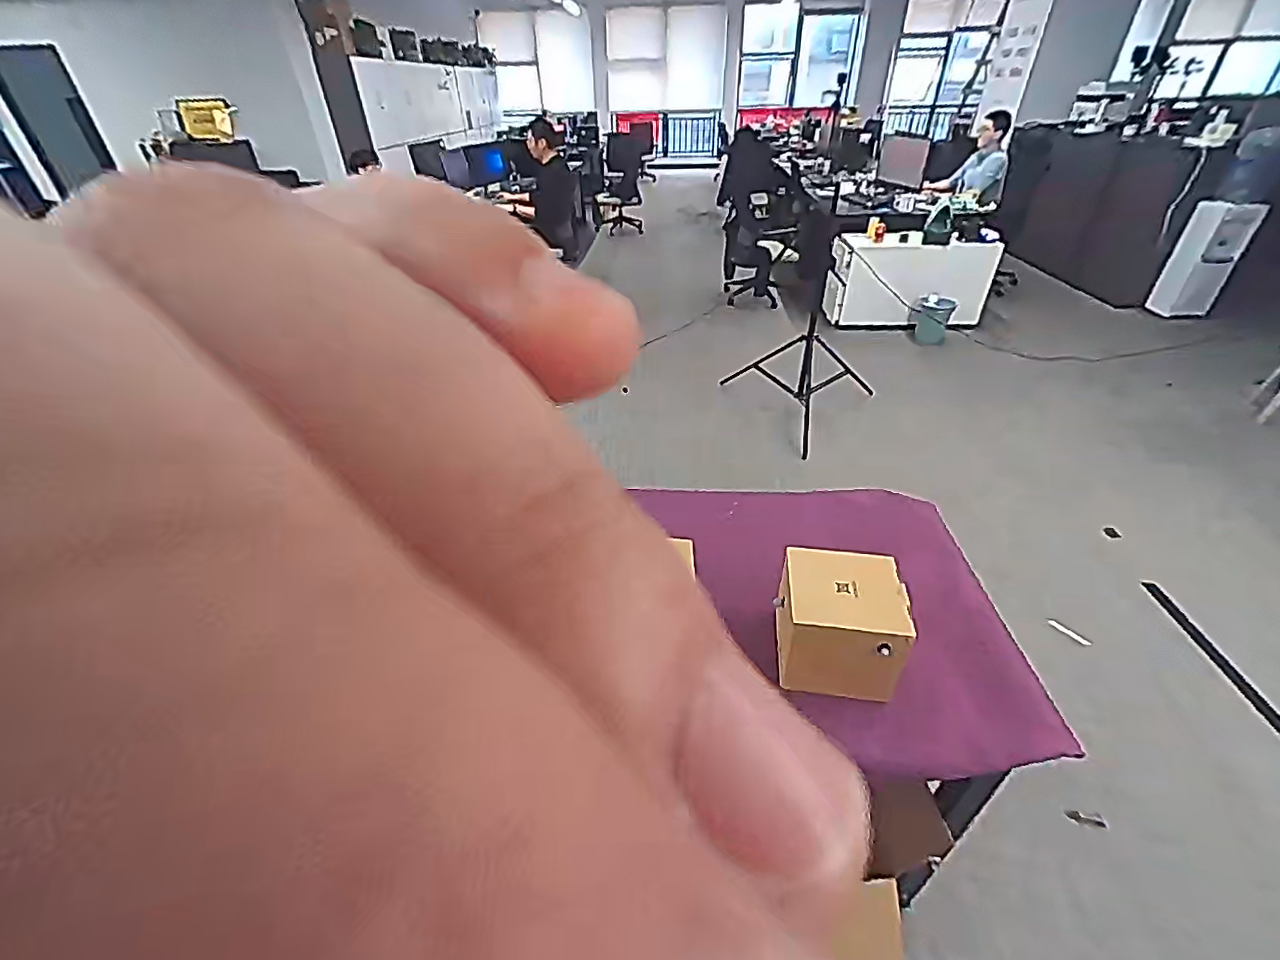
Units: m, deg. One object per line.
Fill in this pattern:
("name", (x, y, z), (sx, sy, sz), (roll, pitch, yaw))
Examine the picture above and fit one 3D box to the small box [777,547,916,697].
("small box", (0.322, 0.232, 0.885), (0.179, 0.176, 0.168), (4, 36, 8))
